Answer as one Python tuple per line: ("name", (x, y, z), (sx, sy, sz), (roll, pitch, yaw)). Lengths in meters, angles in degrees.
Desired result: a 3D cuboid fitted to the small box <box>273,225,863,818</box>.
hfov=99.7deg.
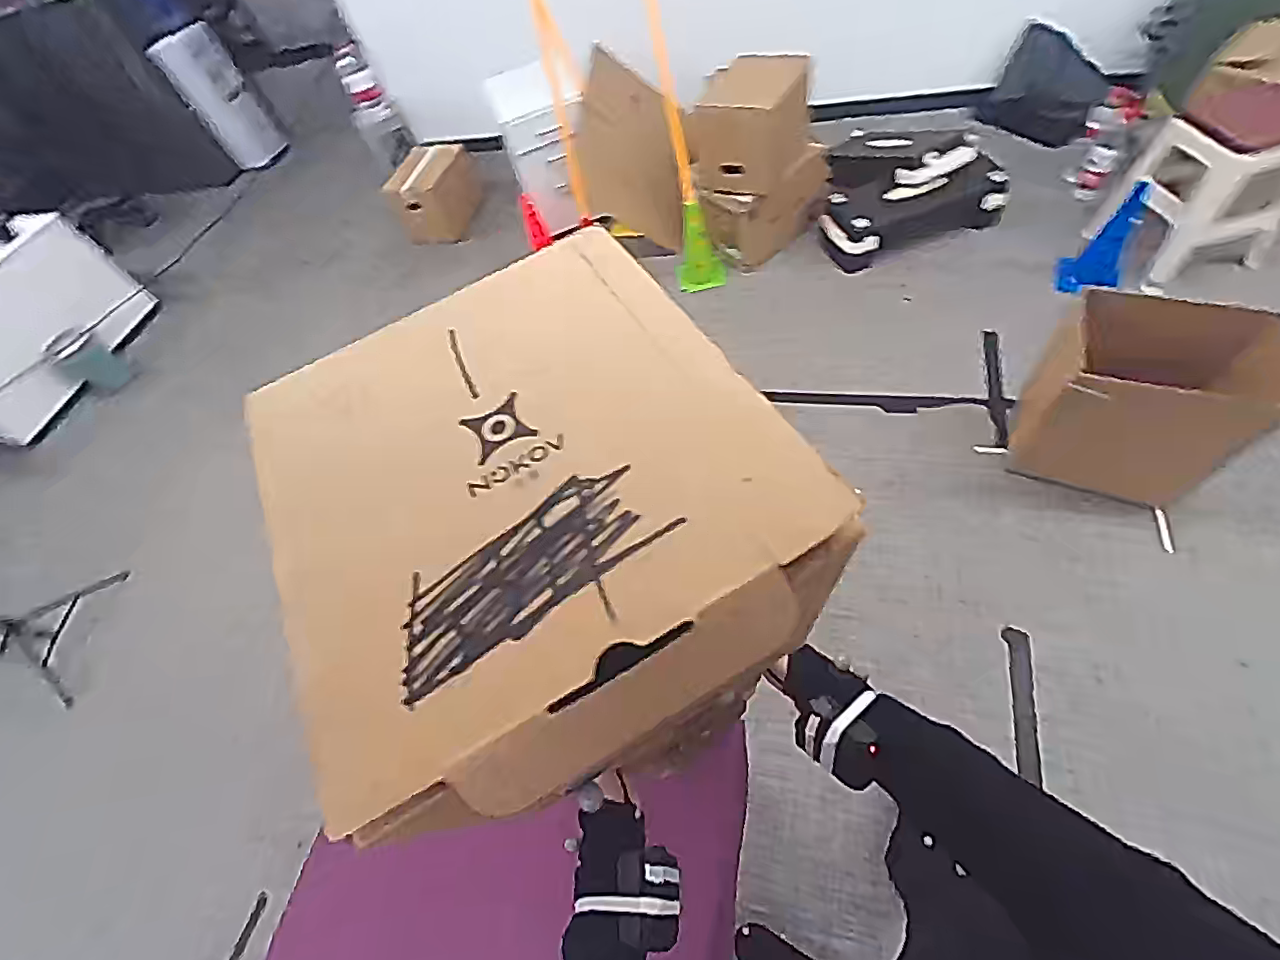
("small box", (-0.029, 0.025, 0.261), (0.168, 0.176, 0.179), (-29, 60, -7))
